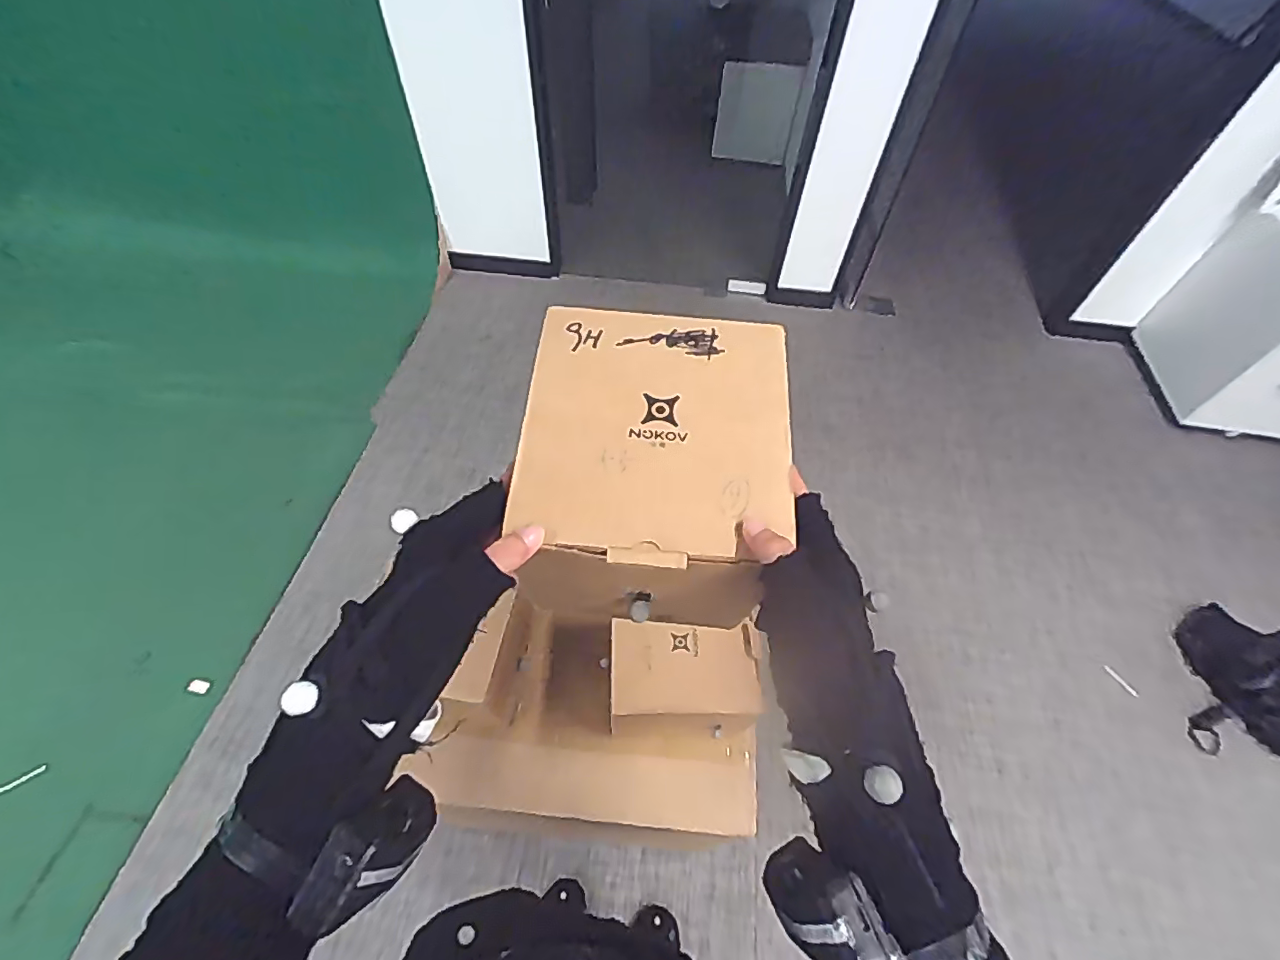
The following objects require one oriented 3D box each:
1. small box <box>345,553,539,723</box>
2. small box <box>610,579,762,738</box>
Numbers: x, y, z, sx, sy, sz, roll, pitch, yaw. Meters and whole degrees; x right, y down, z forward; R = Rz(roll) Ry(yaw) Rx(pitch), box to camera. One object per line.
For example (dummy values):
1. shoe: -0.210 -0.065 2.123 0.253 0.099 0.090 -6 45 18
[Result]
1. small box: -0.248 0.218 0.731 0.179 0.176 0.168 8 57 4
2. small box: 0.050 0.242 0.724 0.179 0.176 0.168 -1 55 -1
